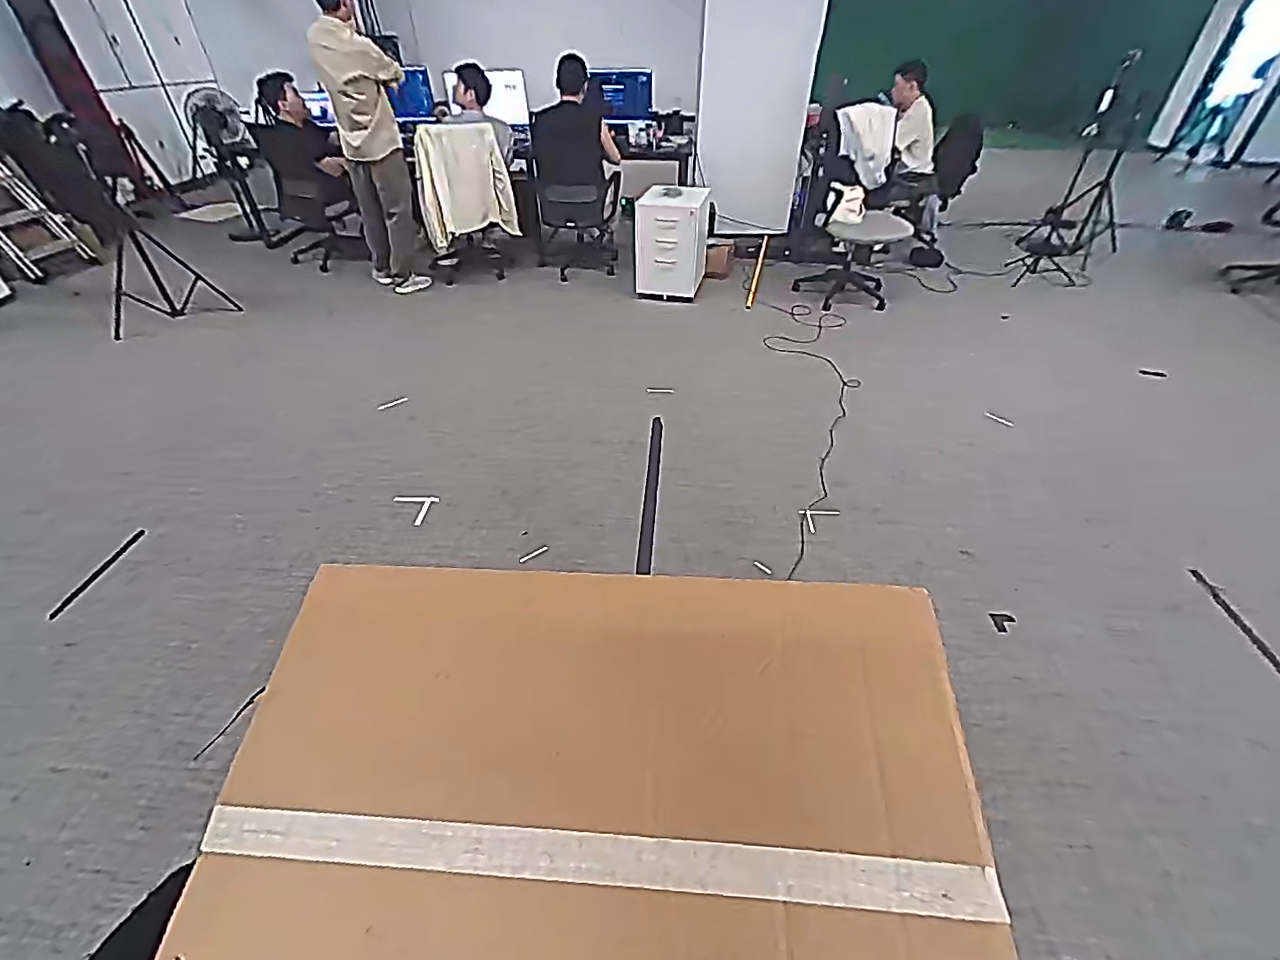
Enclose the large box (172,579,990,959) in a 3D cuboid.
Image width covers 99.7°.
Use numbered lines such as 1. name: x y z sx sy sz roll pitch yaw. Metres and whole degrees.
1. large box: -0.023 0.283 0.406 0.408 0.320 0.320 1 57 5
